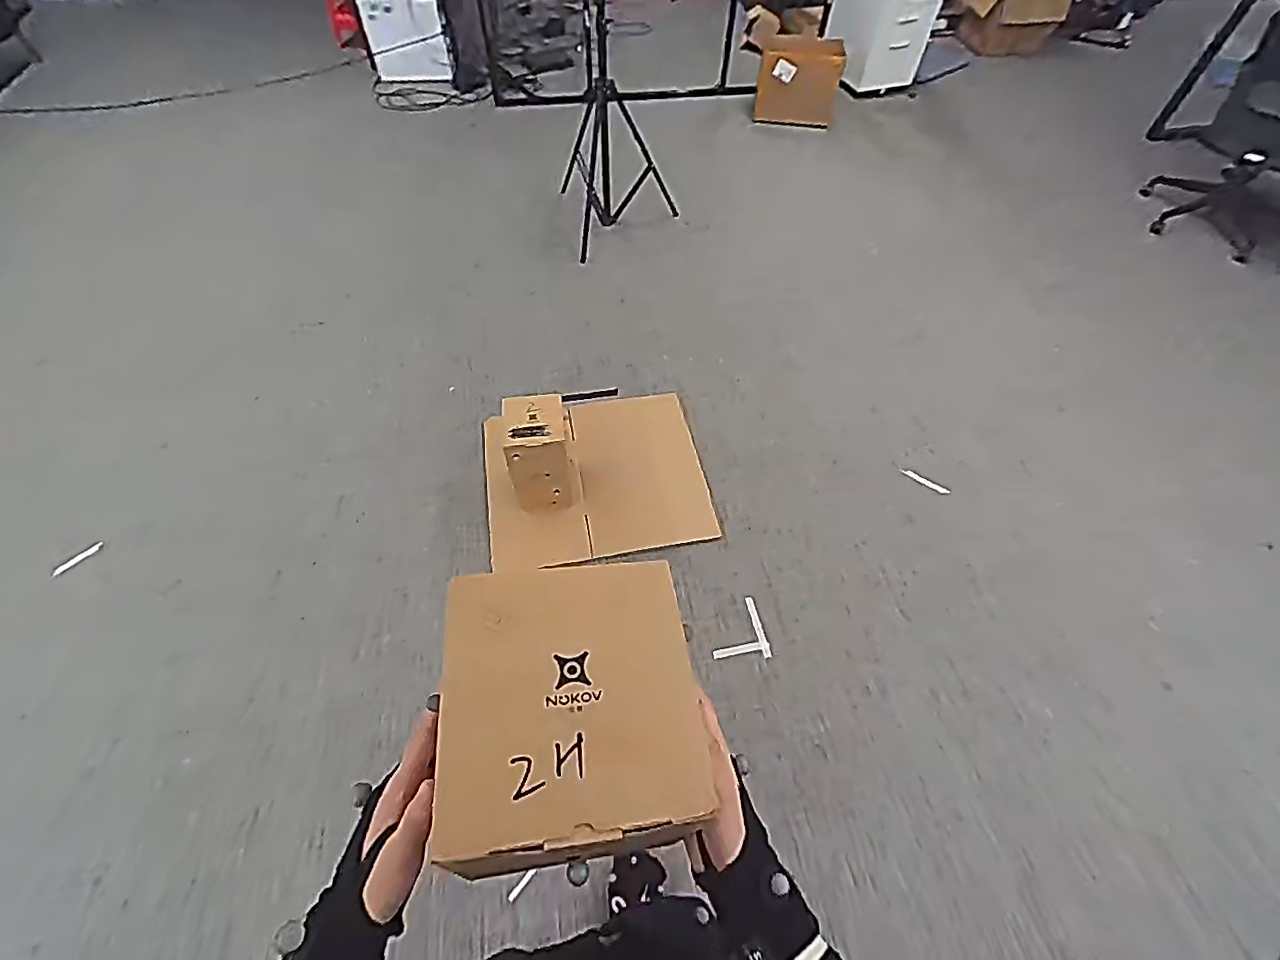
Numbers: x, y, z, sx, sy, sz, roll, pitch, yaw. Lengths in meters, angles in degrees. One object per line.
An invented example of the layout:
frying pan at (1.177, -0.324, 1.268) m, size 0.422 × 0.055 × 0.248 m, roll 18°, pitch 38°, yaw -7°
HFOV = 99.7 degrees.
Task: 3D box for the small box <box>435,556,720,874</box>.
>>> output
small box at (-0.054, 0.180, 0.418) m, size 0.168 × 0.176 × 0.179 m, roll -3°, pitch 52°, yaw -11°

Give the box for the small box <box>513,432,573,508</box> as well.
small box at (-0.298, -0.024, 1.675) m, size 0.168 × 0.176 × 0.179 m, roll -5°, pitch 56°, yaw -6°
